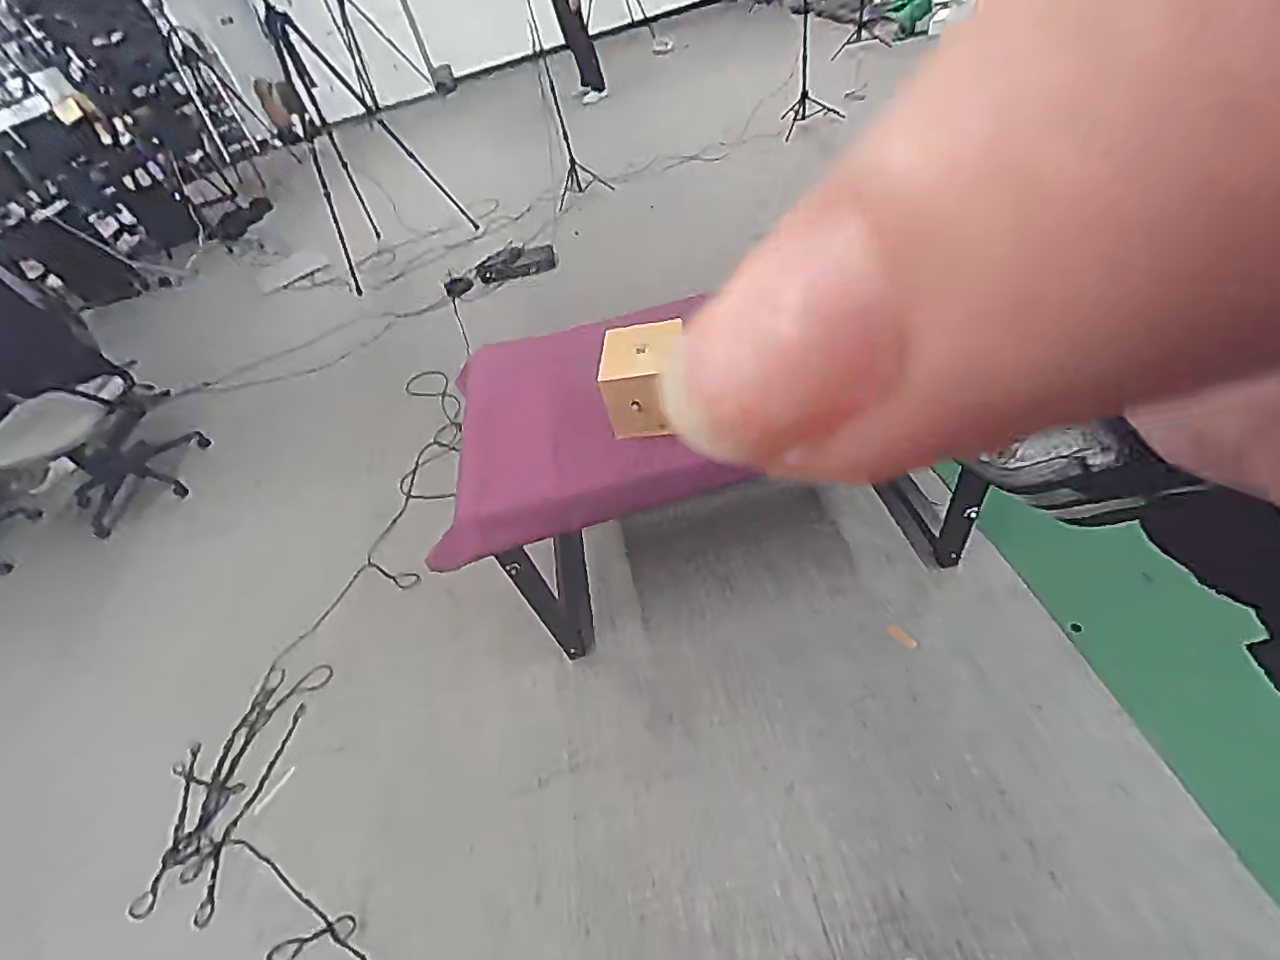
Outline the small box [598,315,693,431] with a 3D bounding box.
[{"bbox_3d":[0.020,-0.217,1.139,0.168,0.176,0.179,-5,47,11],"label":"small box"}]
